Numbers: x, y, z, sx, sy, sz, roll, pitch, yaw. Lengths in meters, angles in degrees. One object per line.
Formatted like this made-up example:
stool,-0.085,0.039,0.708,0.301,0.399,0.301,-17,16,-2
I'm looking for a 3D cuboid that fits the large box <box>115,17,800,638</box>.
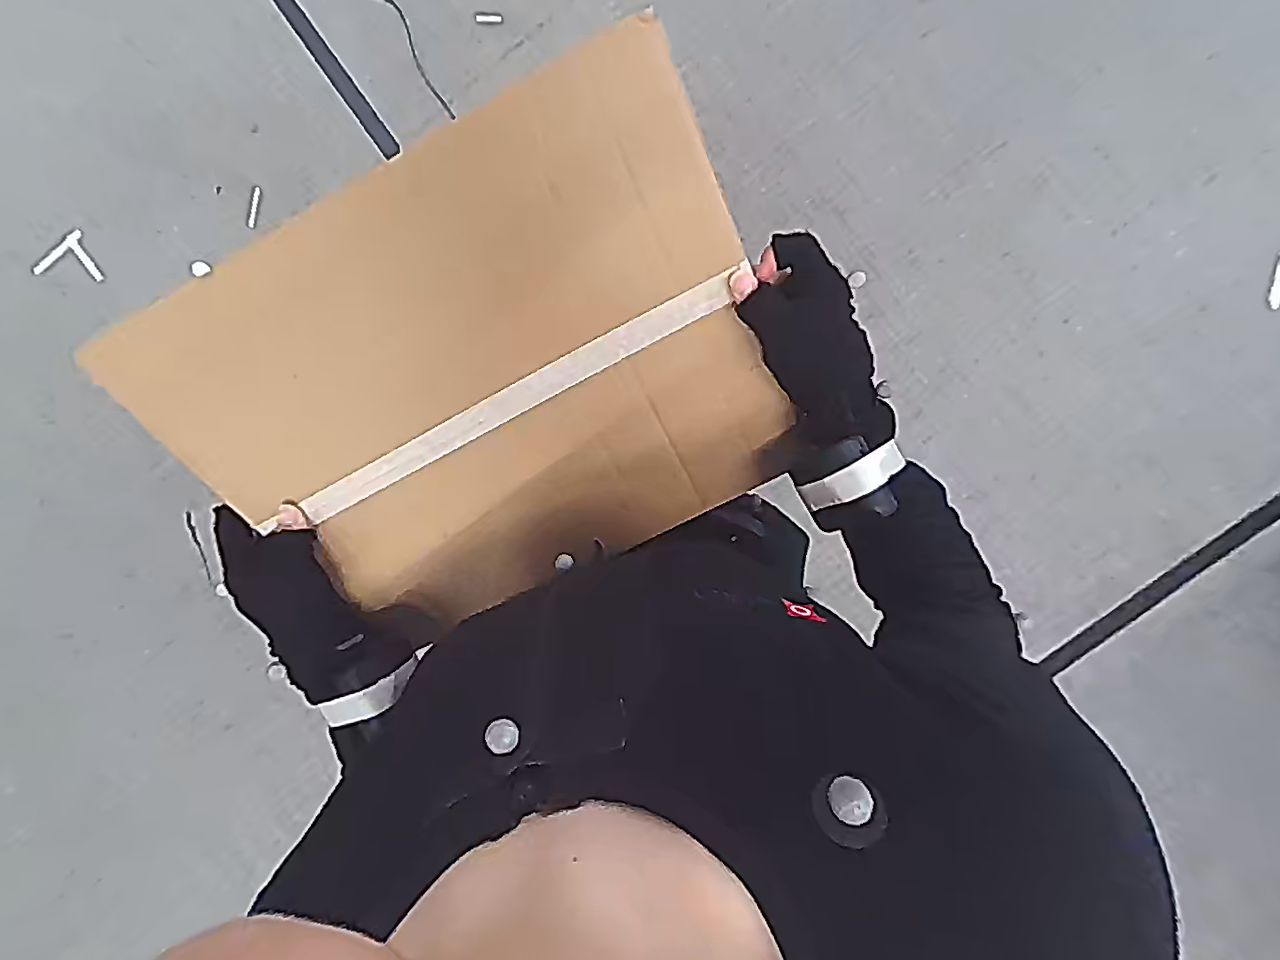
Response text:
large box,-0.126,-0.126,0.530,0.408,0.320,0.320,-27,119,7
